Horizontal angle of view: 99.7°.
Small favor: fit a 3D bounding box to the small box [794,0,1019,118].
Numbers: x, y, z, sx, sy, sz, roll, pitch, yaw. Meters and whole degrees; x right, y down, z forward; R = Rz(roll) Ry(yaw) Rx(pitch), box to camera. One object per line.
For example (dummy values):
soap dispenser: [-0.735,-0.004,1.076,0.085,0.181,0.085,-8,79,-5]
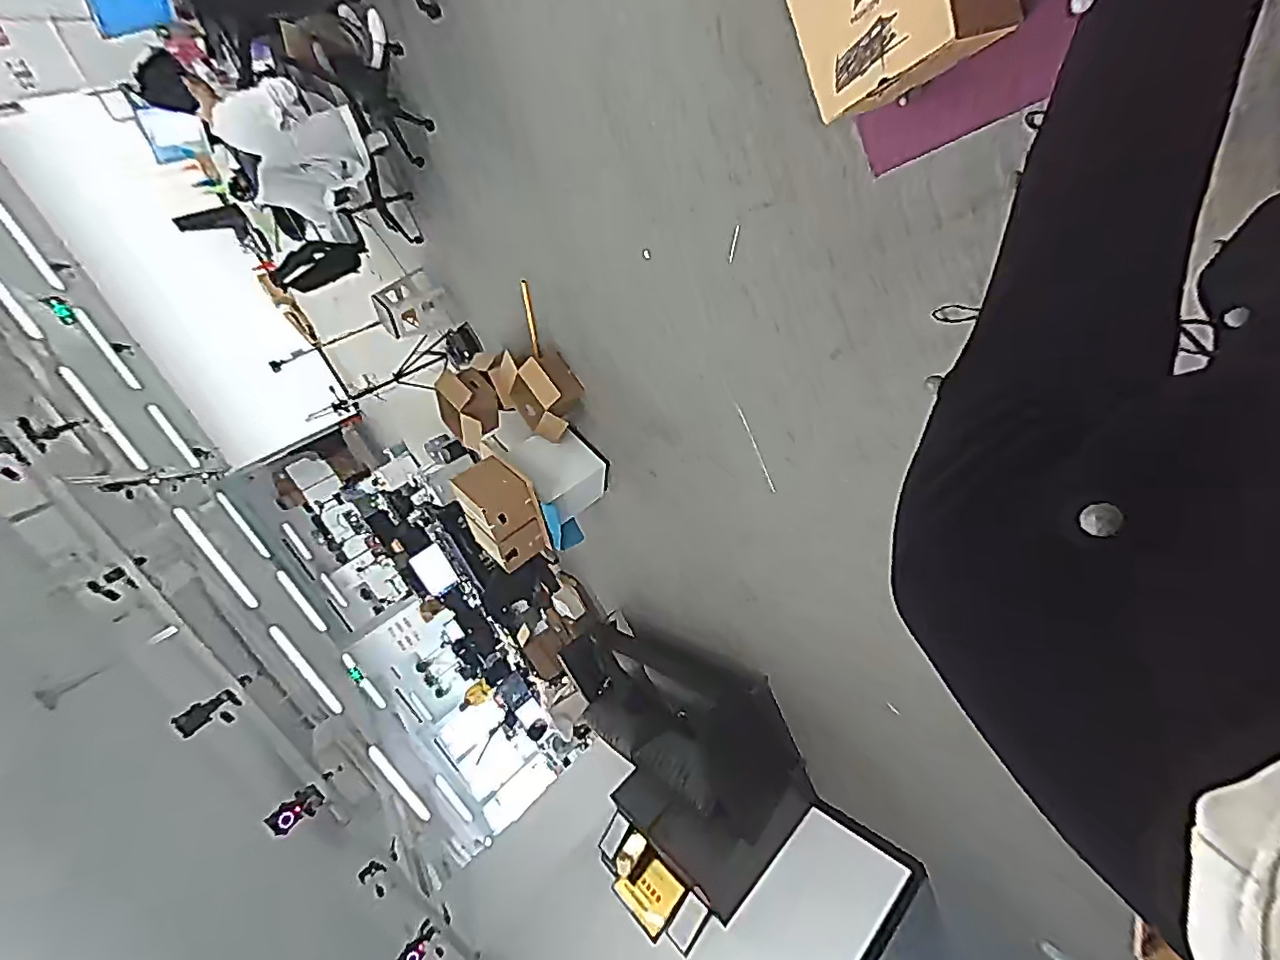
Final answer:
small box: [0.312,-0.577,0.638,0.168,0.176,0.179,3,123,58]
